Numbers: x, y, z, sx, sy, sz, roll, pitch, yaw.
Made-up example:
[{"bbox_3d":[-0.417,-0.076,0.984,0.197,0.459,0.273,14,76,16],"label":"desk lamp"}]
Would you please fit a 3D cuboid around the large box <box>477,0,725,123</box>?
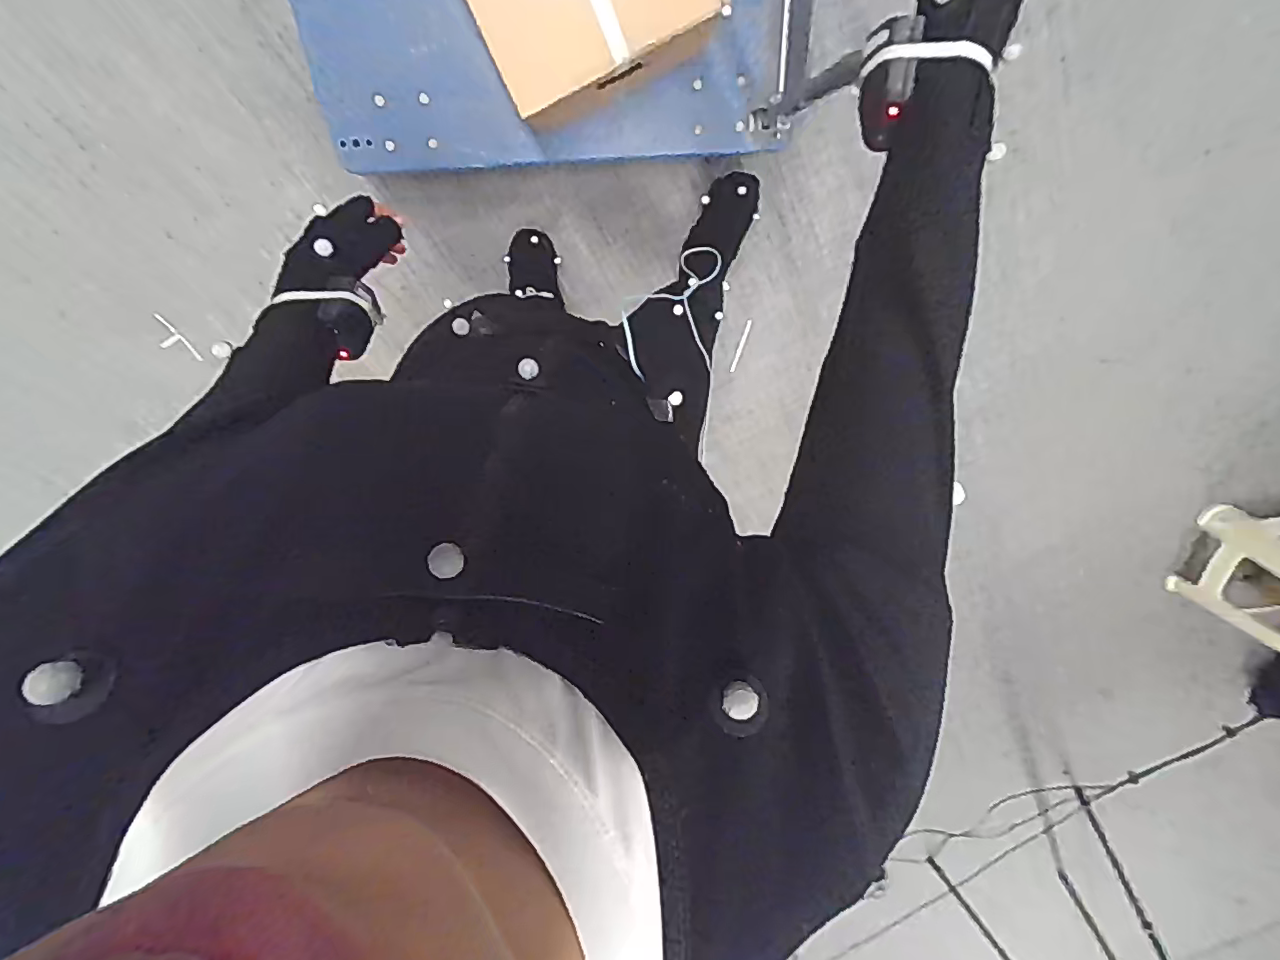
[{"bbox_3d":[-0.109,-0.805,0.767,0.320,0.320,0.408,-23,119,11],"label":"large box"}]
